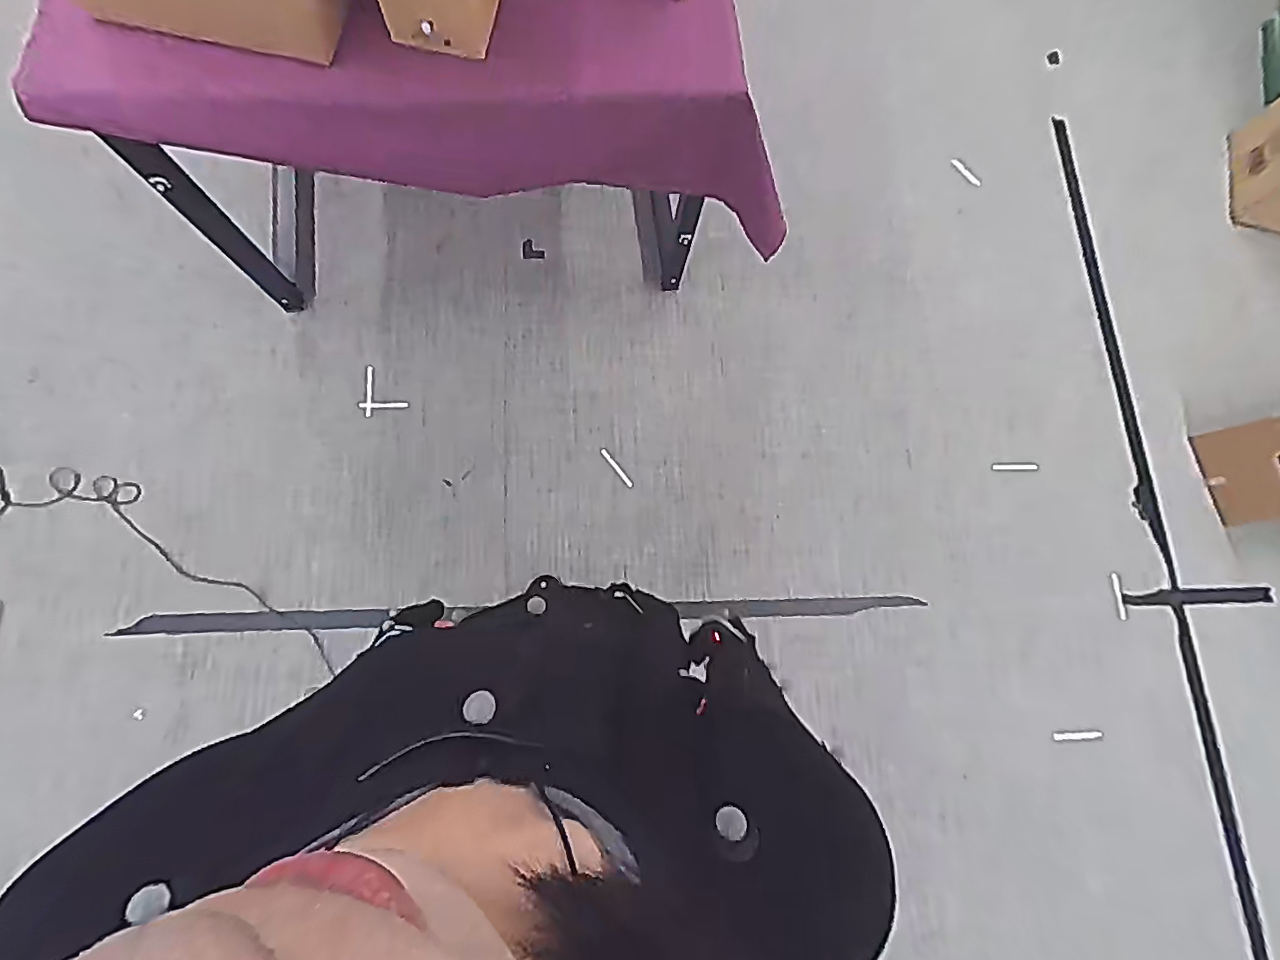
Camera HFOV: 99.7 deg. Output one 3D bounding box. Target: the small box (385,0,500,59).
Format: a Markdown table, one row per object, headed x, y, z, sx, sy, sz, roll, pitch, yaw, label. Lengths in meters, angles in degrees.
| x | y | z | sx | sy | sz | roll | pitch | yaw | label |
| --- | --- | --- | --- | --- | --- | --- | --- | --- | --- |
| -0.337 | -0.868 | 0.907 | 0.168 | 0.176 | 0.179 | 9 | 78 | -3 | small box |
